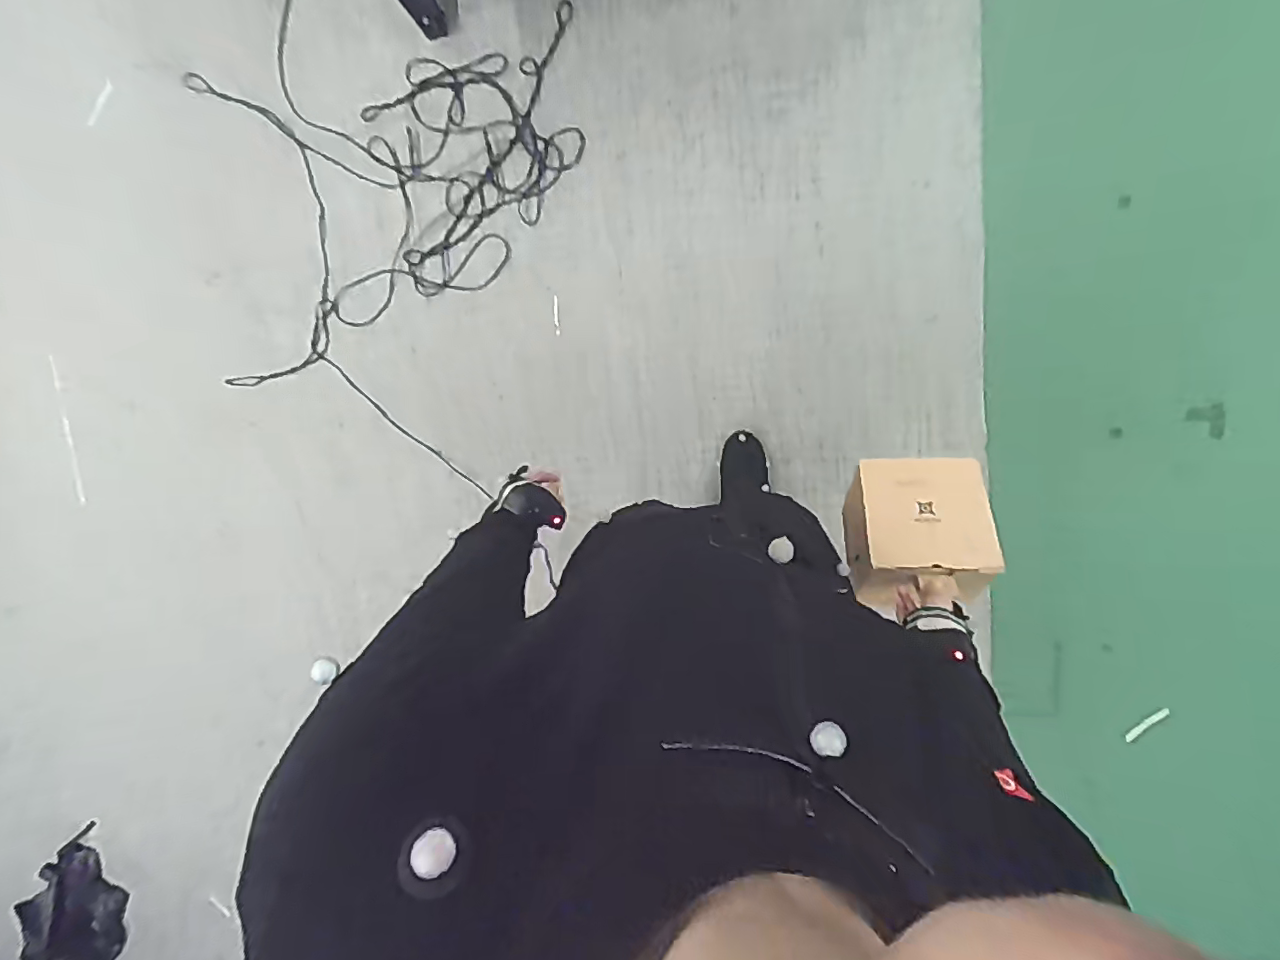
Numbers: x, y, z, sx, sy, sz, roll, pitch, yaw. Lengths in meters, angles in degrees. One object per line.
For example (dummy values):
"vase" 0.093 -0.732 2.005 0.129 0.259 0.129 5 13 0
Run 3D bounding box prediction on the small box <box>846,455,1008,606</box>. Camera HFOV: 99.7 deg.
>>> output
"small box" 0.412 0.080 0.810 0.168 0.176 0.179 0 58 11
